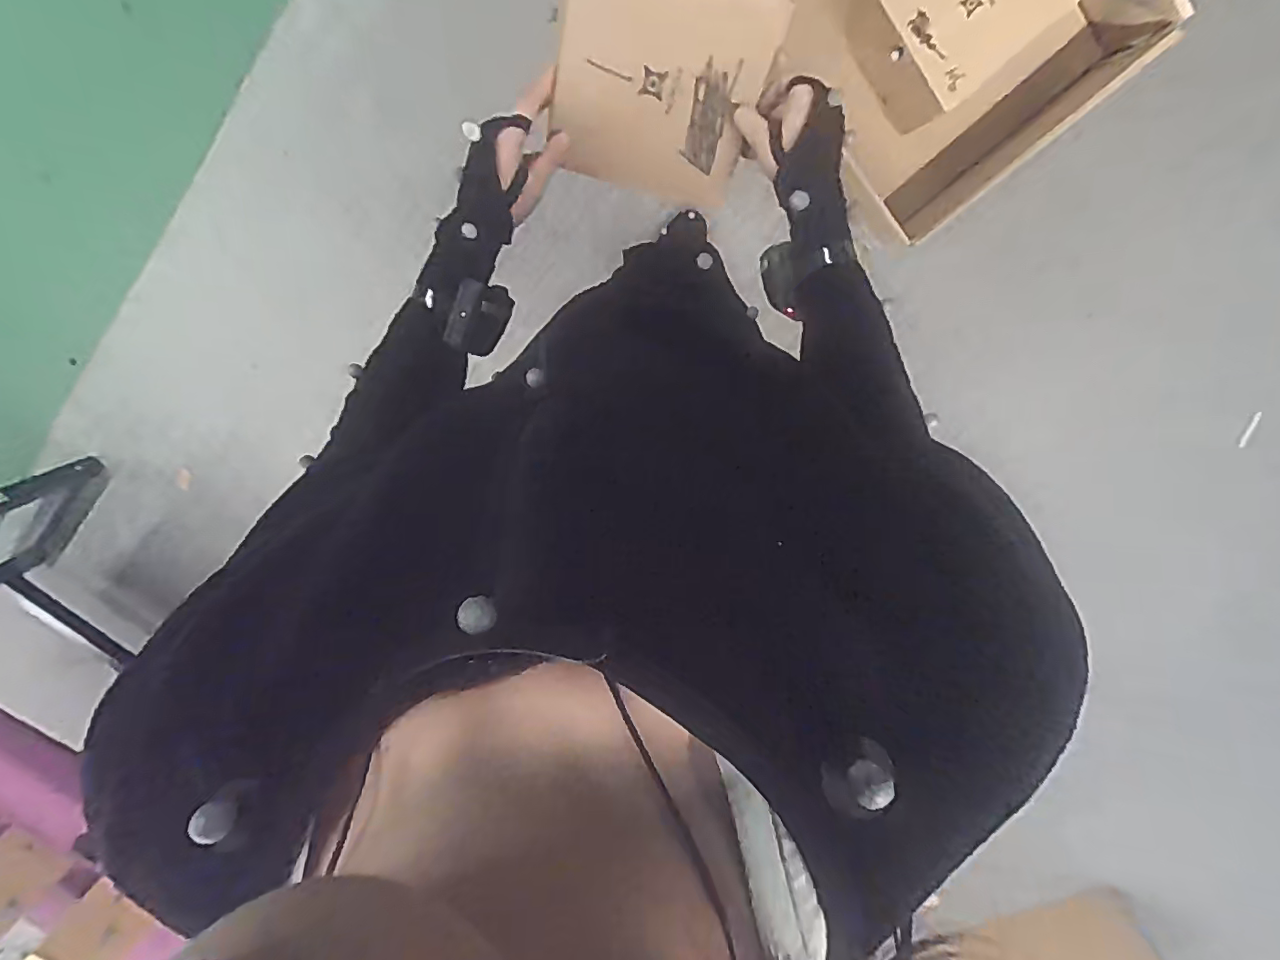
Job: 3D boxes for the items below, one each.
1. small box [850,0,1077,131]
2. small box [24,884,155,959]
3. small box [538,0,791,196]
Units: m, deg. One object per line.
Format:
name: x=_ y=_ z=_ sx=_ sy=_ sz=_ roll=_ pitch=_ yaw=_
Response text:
small box: x=0.414 y=-0.613 z=0.720 sx=0.179 sy=0.176 sz=0.168 roll=-37 pitch=104 yaw=18
small box: x=-1.315 y=1.106 z=1.279 sx=0.179 sy=0.176 sz=0.168 roll=-41 pitch=104 yaw=20
small box: x=0.006 y=-0.397 z=0.496 sx=0.179 sy=0.176 sz=0.168 roll=6 pitch=137 yaw=-16
